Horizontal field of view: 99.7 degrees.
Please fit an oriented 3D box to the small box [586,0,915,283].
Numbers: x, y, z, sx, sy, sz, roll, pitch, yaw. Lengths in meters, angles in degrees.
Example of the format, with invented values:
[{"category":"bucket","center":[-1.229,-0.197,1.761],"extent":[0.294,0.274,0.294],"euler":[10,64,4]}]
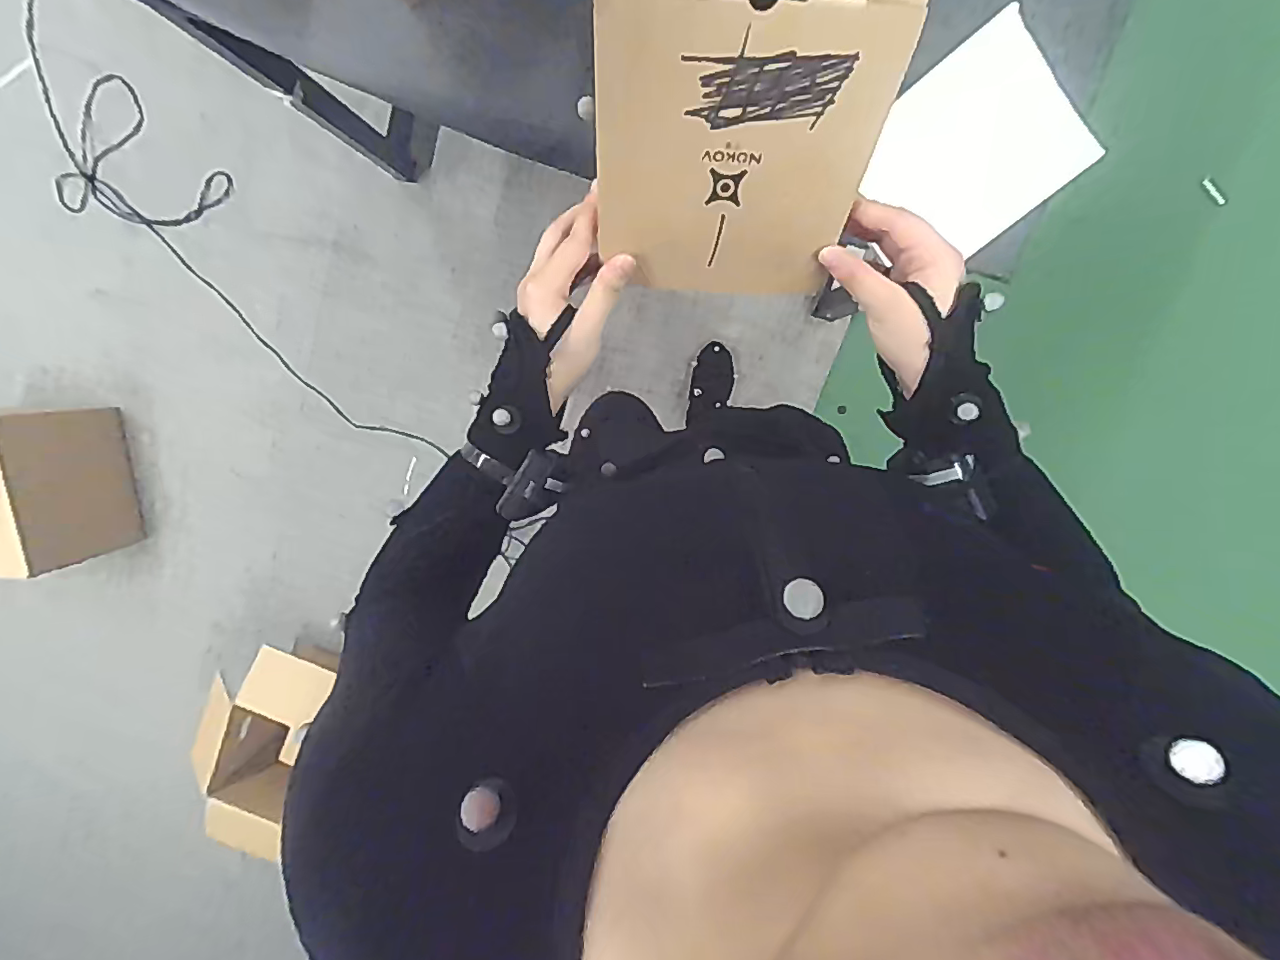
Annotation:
[{"category":"small box","center":[0.049,-0.262,0.368],"extent":[0.168,0.179,0.176],"euler":[2,59,-2]}]
